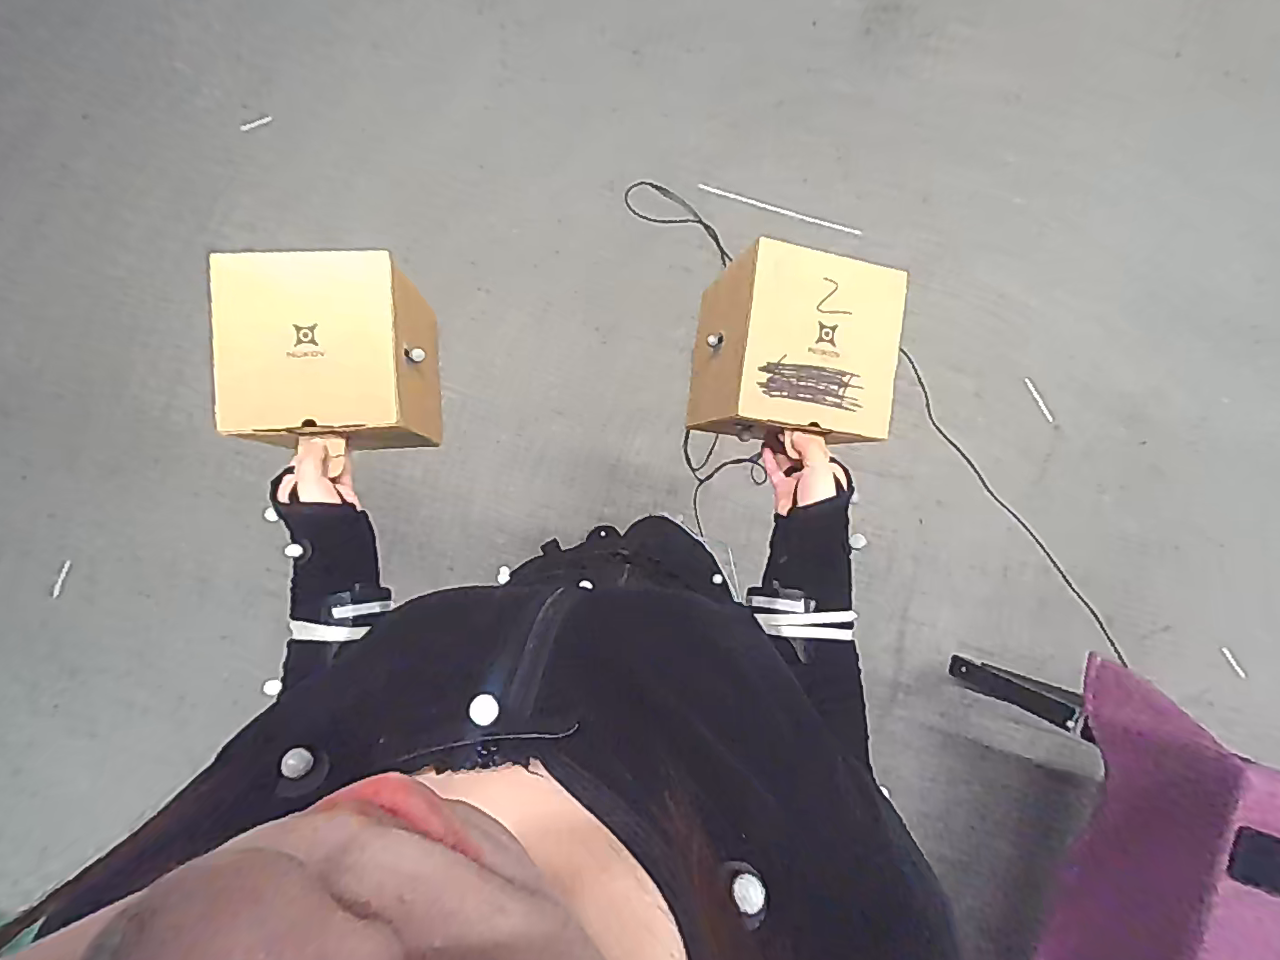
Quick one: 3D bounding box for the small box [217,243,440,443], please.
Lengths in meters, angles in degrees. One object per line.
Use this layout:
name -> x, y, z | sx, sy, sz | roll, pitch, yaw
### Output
small box -> -0.326, -0.137, 0.597 | 0.168, 0.176, 0.179 | -3, 89, -7
